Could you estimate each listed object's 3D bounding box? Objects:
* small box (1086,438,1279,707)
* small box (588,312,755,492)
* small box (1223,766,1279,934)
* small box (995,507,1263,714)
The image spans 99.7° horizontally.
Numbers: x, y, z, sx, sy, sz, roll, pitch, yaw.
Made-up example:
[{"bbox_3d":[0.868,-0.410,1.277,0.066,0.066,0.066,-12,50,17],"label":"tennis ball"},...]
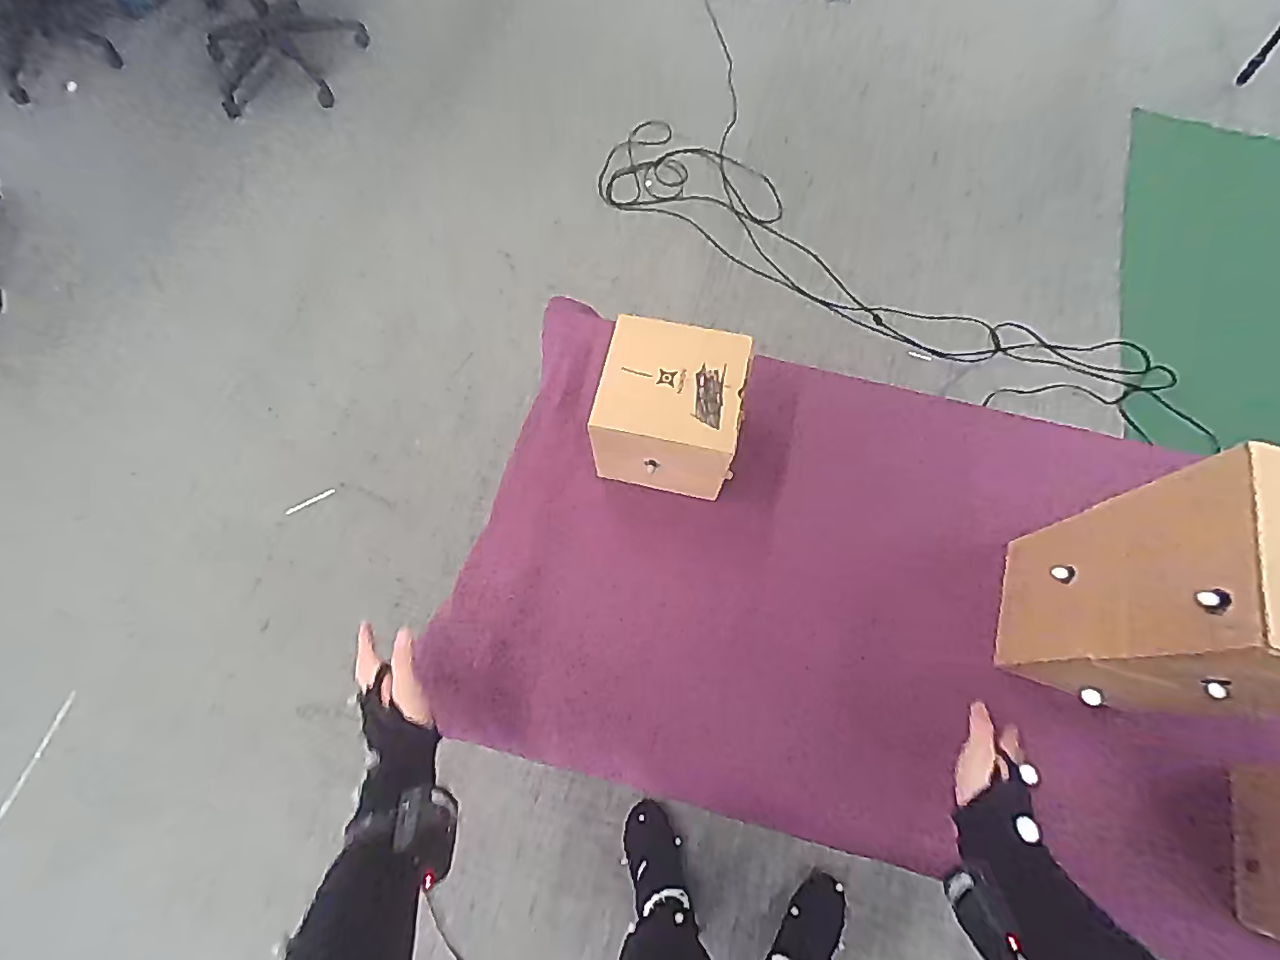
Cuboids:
[{"bbox_3d":[0.545,0.092,0.483,0.168,0.176,0.179,16,71,6],"label":"small box"},{"bbox_3d":[0.042,-0.095,0.728,0.179,0.176,0.168,12,70,5],"label":"small box"},{"bbox_3d":[0.754,0.403,0.536,0.179,0.176,0.168,19,69,8],"label":"small box"},{"bbox_3d":[0.553,0.153,0.633,0.168,0.176,0.179,19,71,8],"label":"small box"}]
